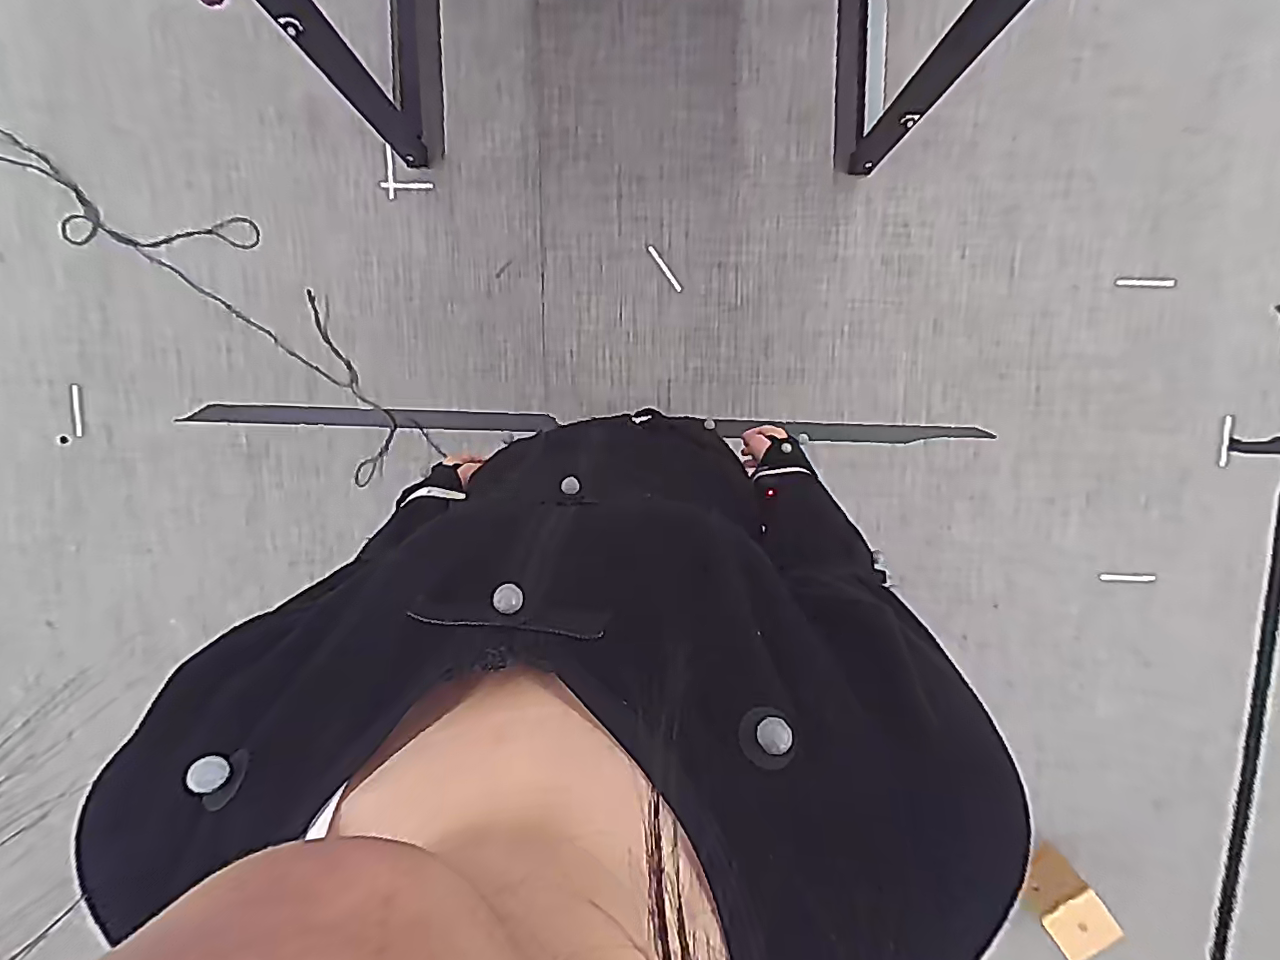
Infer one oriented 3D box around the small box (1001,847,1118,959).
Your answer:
[{"bbox_3d":[1.192,1.201,1.551,0.168,0.176,0.179,-36,97,5],"label":"small box"}]
